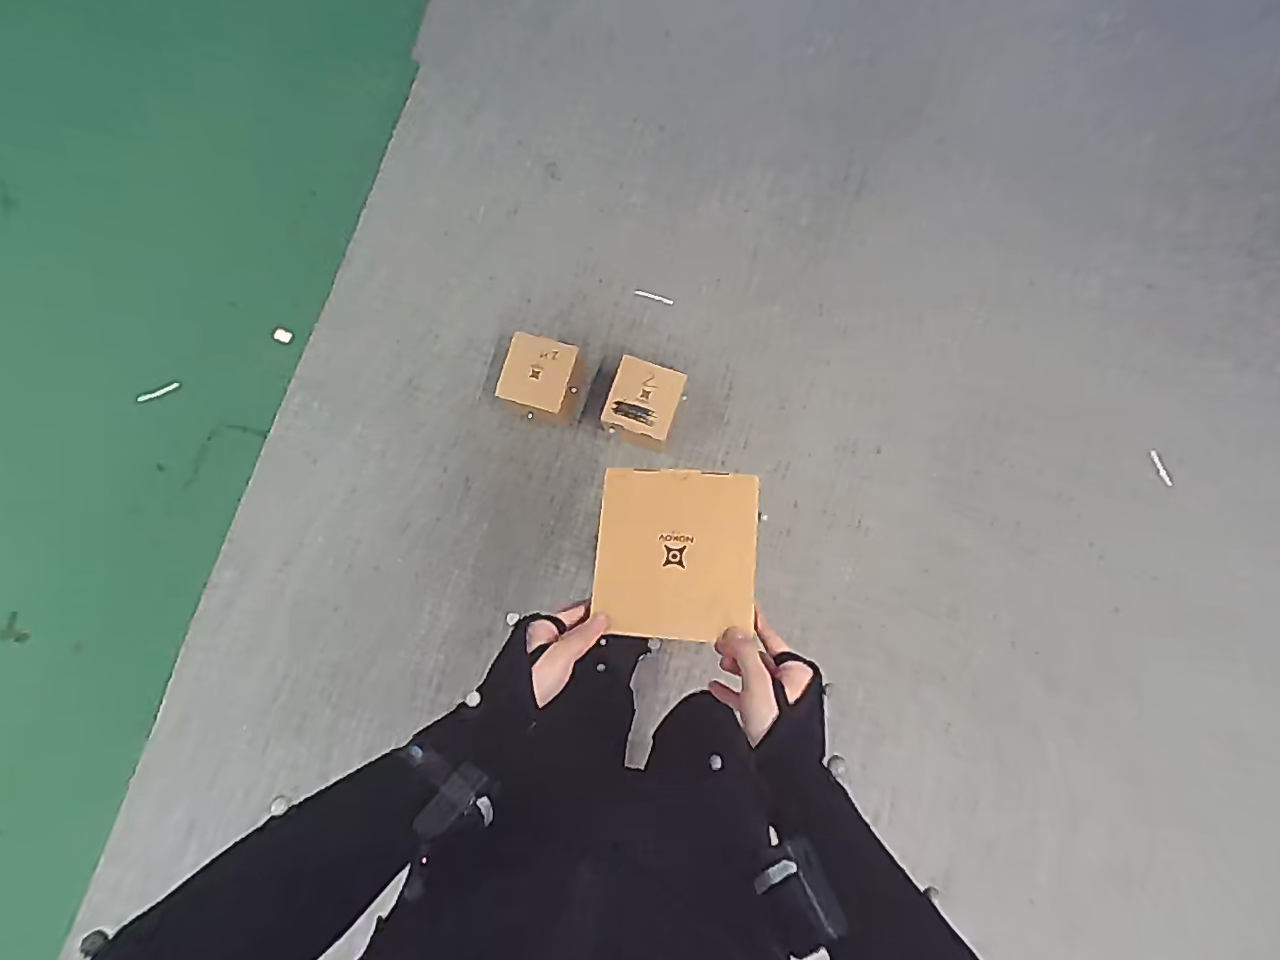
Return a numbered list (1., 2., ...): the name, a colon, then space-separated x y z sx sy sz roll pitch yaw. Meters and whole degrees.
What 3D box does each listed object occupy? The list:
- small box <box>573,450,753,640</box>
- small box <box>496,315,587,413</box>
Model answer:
1. small box: 0.033 0.078 0.615 0.168 0.176 0.179 5 77 8
2. small box: -0.240 -0.285 1.372 0.168 0.176 0.179 18 85 3
